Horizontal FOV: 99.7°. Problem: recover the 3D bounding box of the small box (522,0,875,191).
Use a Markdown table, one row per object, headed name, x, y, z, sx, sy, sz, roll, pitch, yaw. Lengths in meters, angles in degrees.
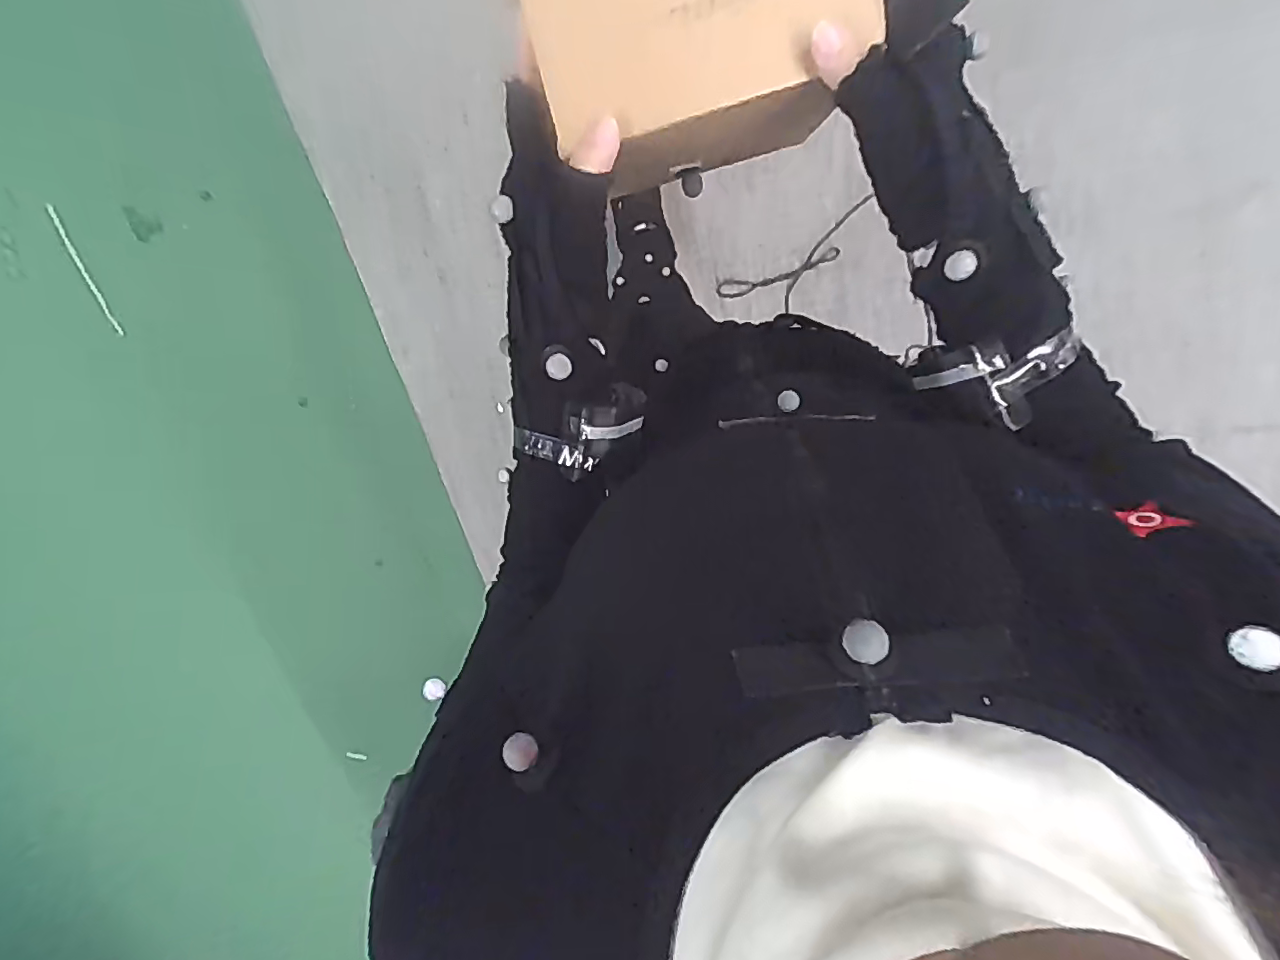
| name | x | y | z | sx | sy | sz | roll | pitch | yaw |
| --- | --- | --- | --- | --- | --- | --- | --- | --- | --- |
| small box | 0.018 | -0.297 | 0.320 | 0.168 | 0.176 | 0.179 | -13 | 109 | 7 |
